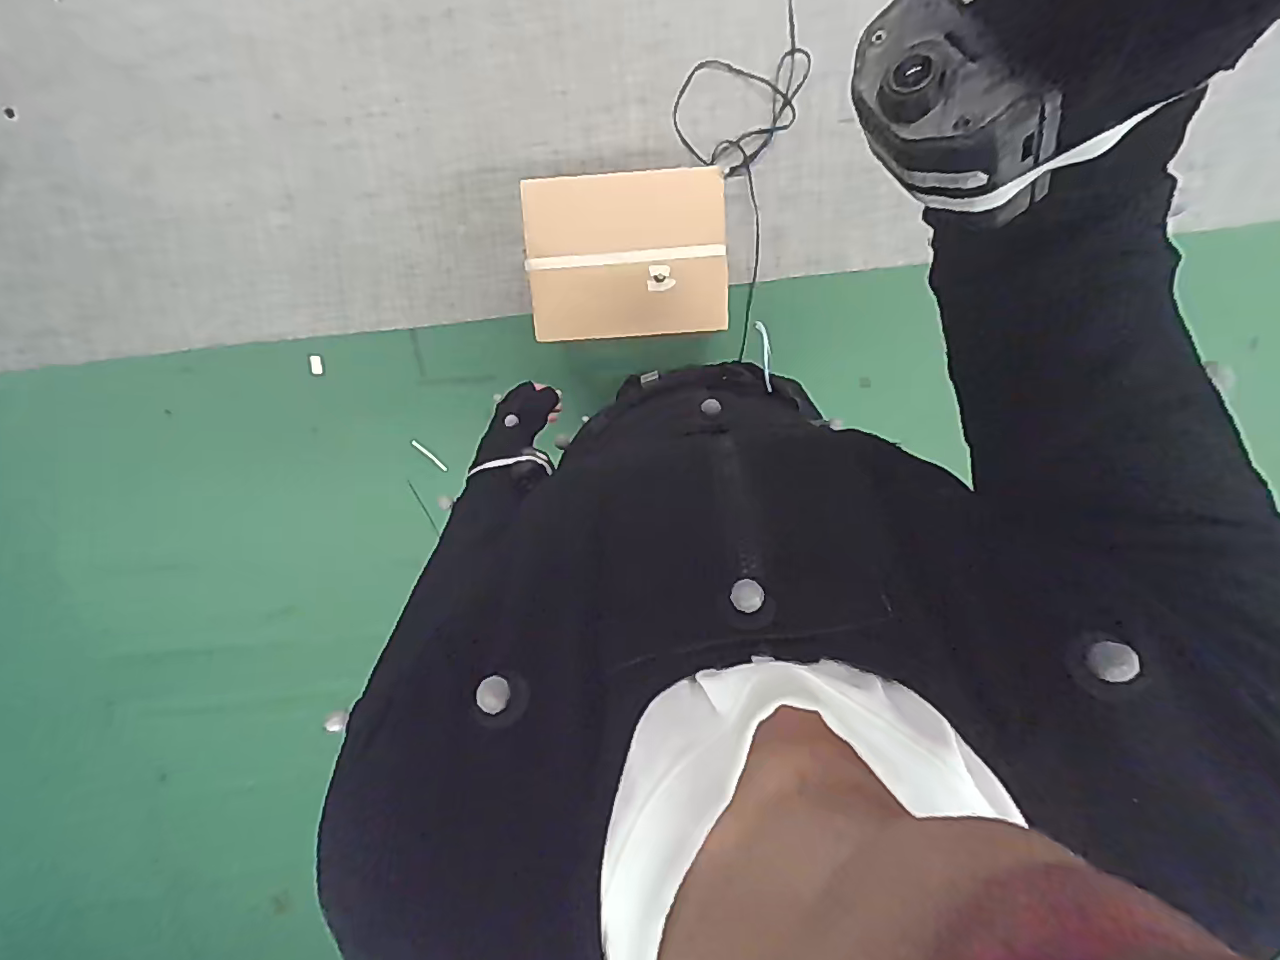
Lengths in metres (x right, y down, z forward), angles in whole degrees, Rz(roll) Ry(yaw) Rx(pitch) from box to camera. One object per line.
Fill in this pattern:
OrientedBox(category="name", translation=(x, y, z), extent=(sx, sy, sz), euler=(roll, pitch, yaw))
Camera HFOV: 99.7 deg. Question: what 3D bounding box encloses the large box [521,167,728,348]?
OrientedBox(category="large box", translation=(-0.028, -0.482, 1.242), extent=(0.408, 0.320, 0.320), euler=(-4, 103, 1))
